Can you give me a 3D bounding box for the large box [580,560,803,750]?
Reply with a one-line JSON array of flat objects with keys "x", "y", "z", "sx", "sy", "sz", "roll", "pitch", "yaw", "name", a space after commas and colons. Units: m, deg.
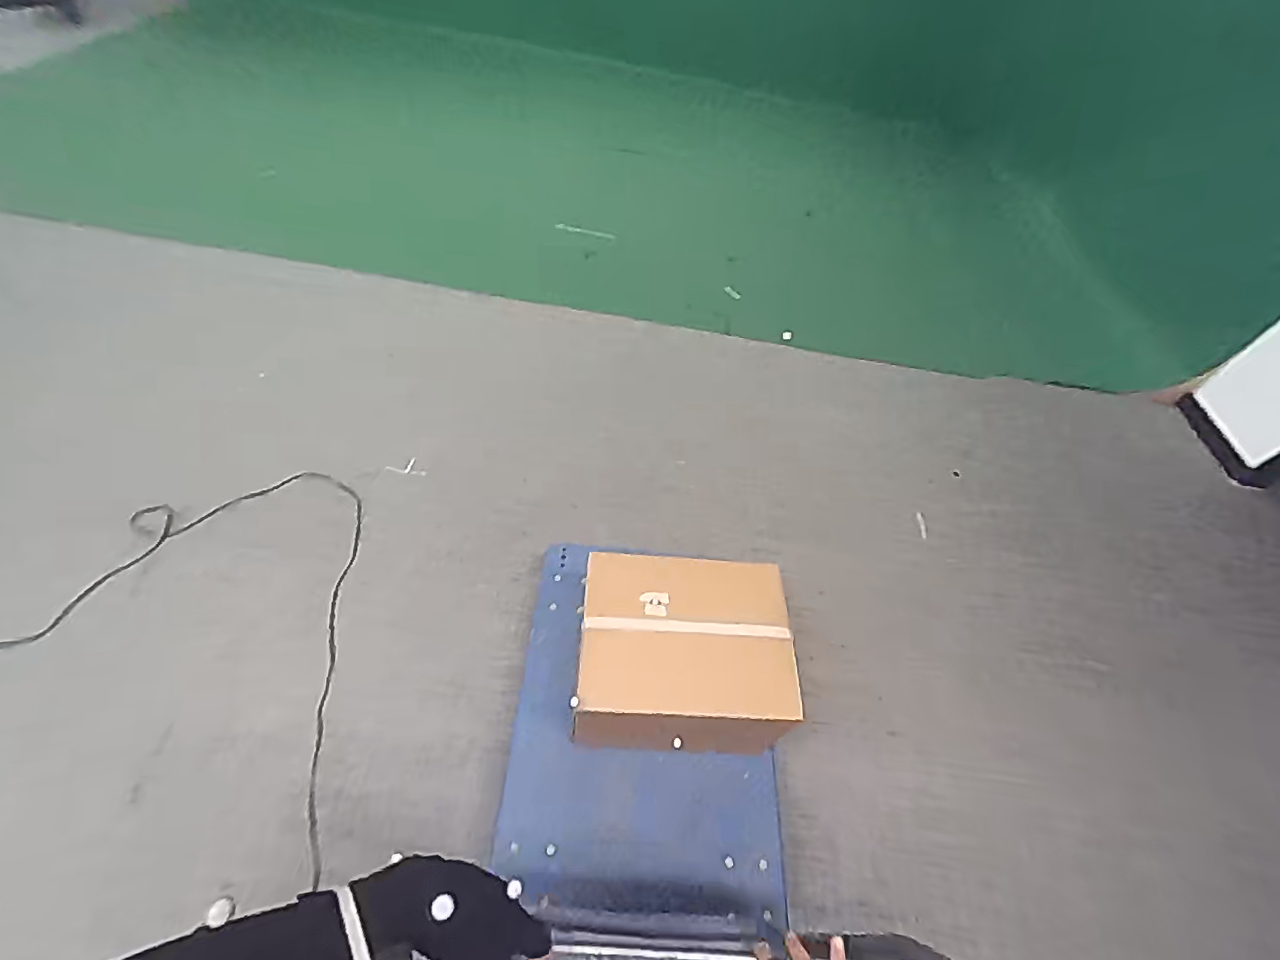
[{"x": 0.082, "y": 0.384, "z": 1.157, "sx": 0.408, "sy": 0.320, "sz": 0.320, "roll": 3, "pitch": 52, "yaw": -4, "name": "large box"}]
